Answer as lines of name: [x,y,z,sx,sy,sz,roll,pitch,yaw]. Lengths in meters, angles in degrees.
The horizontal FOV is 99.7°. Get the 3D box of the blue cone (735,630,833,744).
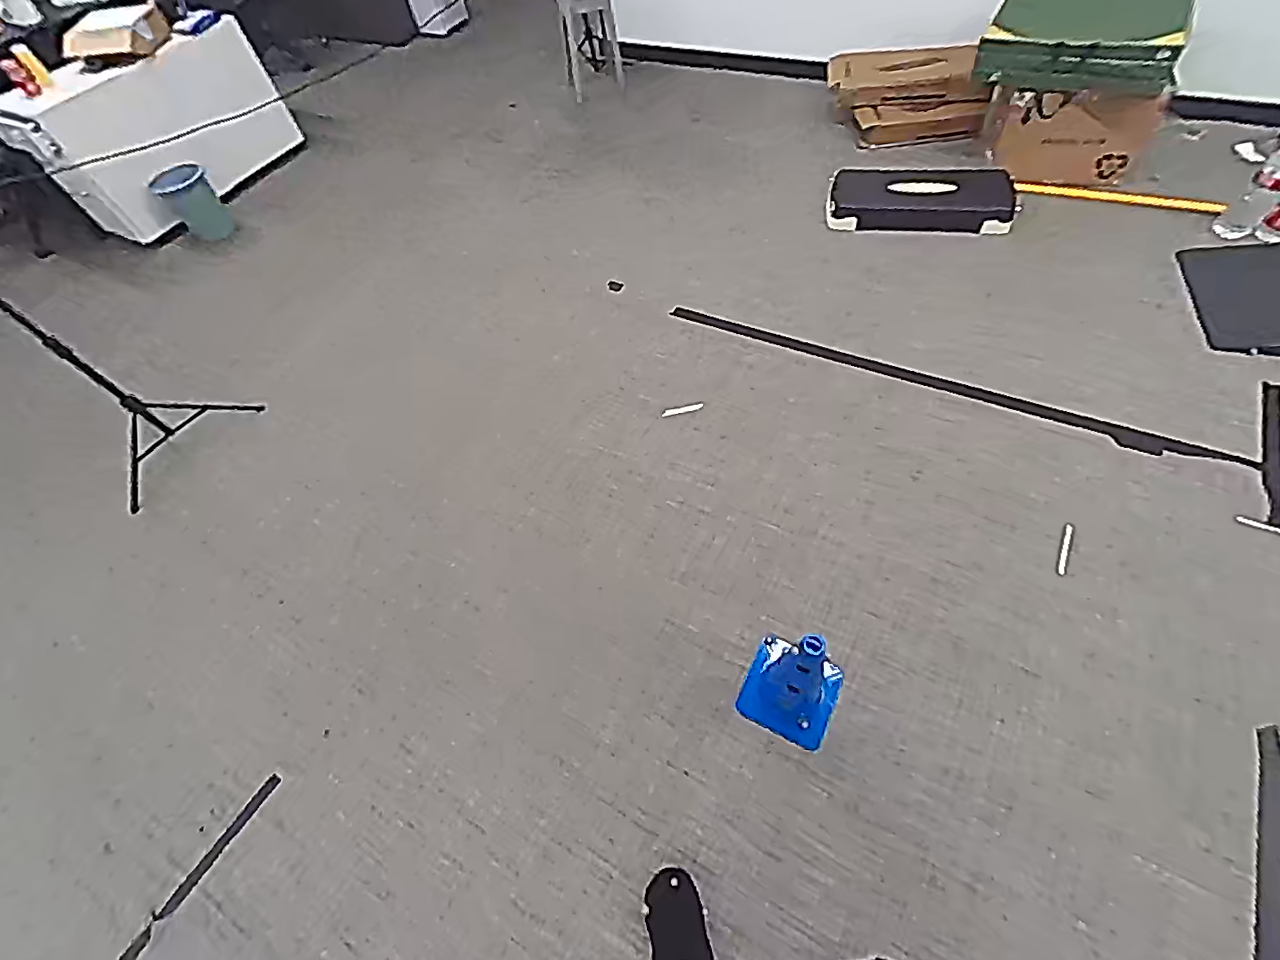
blue cone: [0.311,0.390,1.107,0.192,0.380,0.193,22,62,22]
